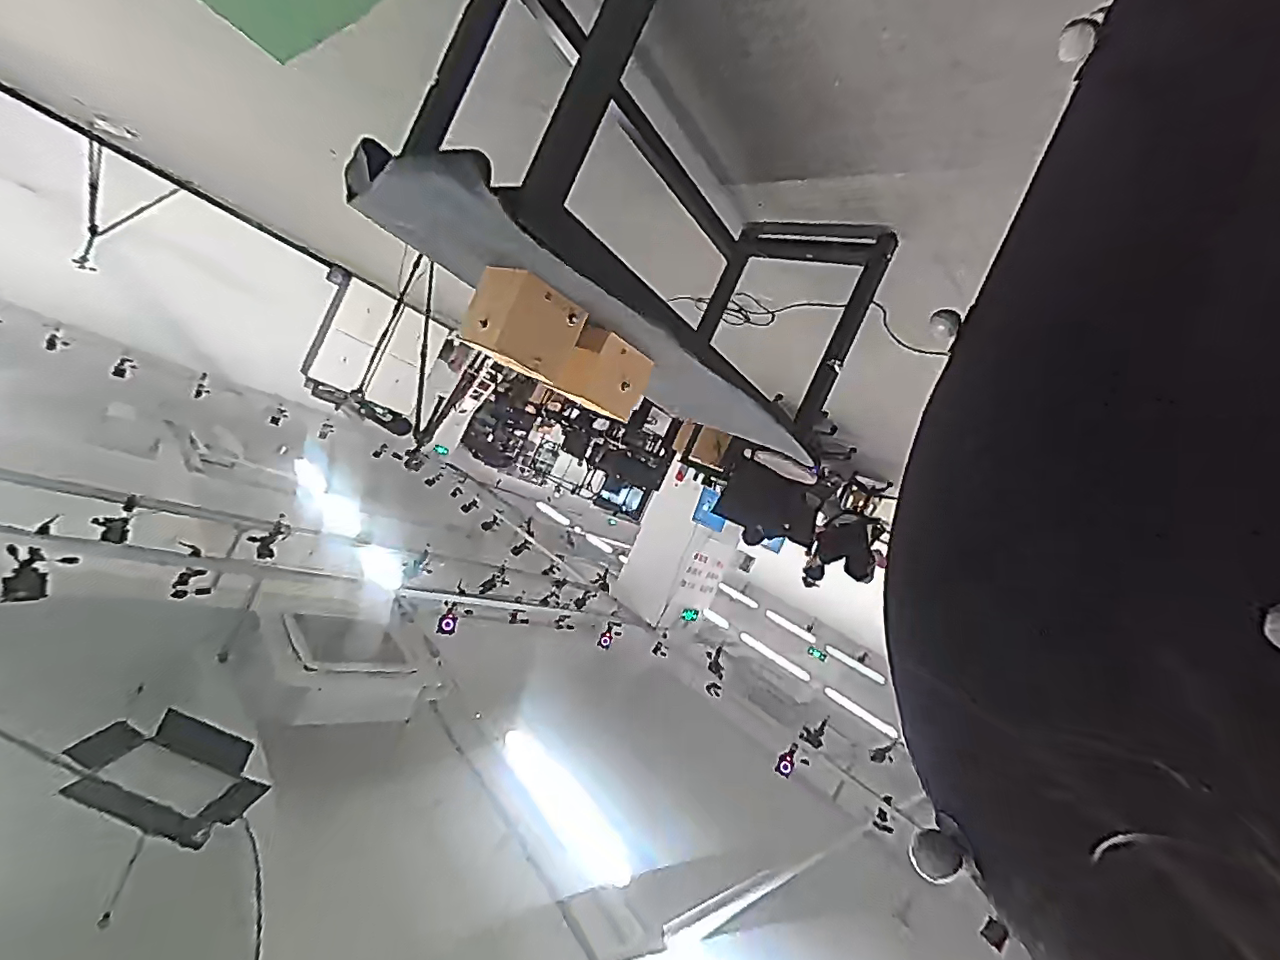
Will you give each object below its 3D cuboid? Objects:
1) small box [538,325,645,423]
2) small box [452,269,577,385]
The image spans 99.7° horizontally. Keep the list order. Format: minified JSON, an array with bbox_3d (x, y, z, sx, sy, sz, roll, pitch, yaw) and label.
[{"bbox_3d":[-0.109,-0.260,1.308,0.179,0.176,0.168,26,-178,43],"label":"small box"},{"bbox_3d":[-0.254,-0.320,1.125,0.179,0.176,0.168,26,-178,43],"label":"small box"}]
